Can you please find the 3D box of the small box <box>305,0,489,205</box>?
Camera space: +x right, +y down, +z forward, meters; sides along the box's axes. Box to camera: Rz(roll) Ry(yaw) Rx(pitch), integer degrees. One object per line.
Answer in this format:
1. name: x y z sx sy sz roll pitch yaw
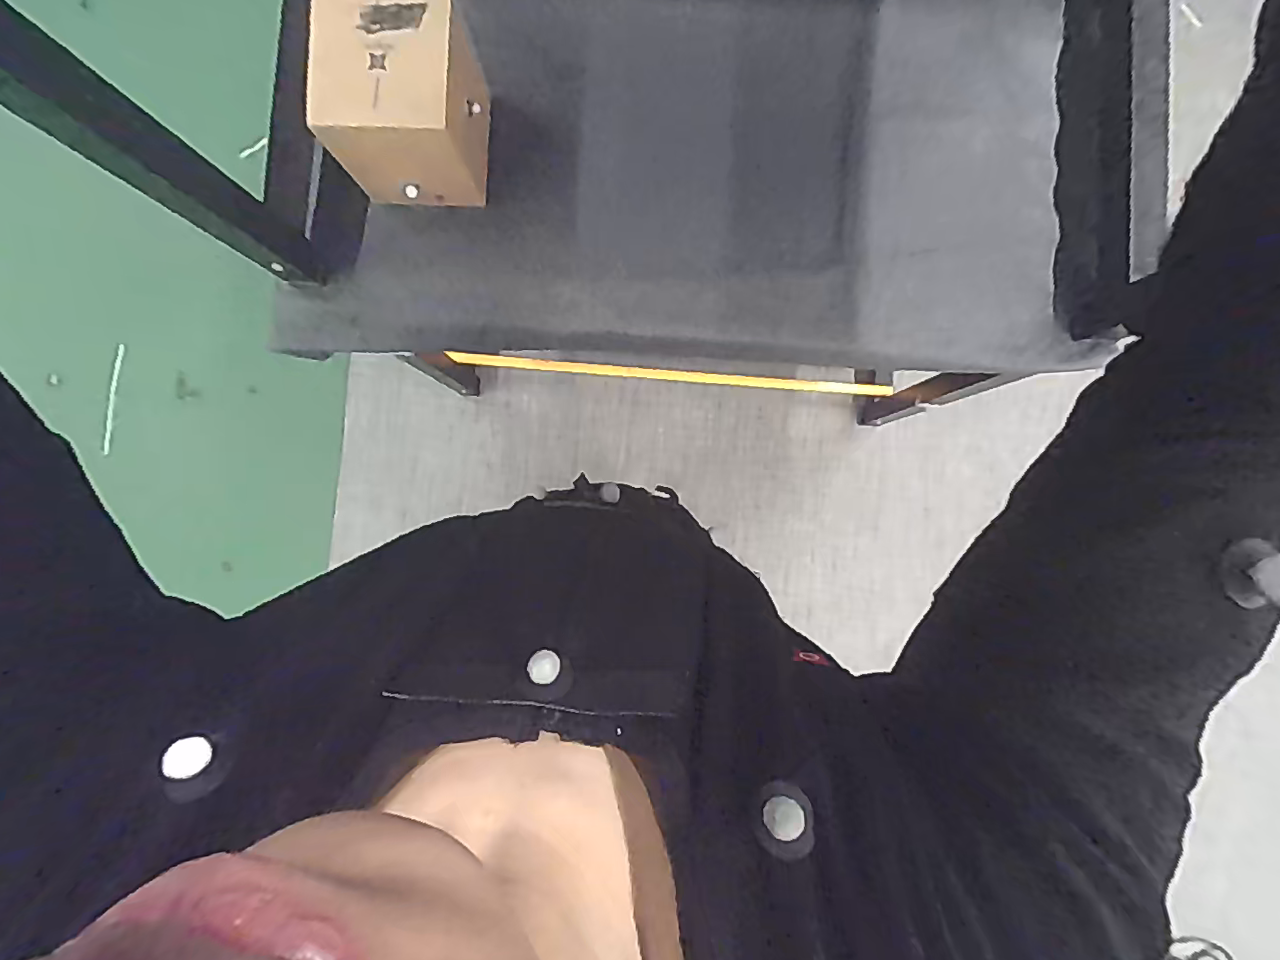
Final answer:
1. small box: -0.303 -0.494 0.708 0.168 0.176 0.179 2 88 0
